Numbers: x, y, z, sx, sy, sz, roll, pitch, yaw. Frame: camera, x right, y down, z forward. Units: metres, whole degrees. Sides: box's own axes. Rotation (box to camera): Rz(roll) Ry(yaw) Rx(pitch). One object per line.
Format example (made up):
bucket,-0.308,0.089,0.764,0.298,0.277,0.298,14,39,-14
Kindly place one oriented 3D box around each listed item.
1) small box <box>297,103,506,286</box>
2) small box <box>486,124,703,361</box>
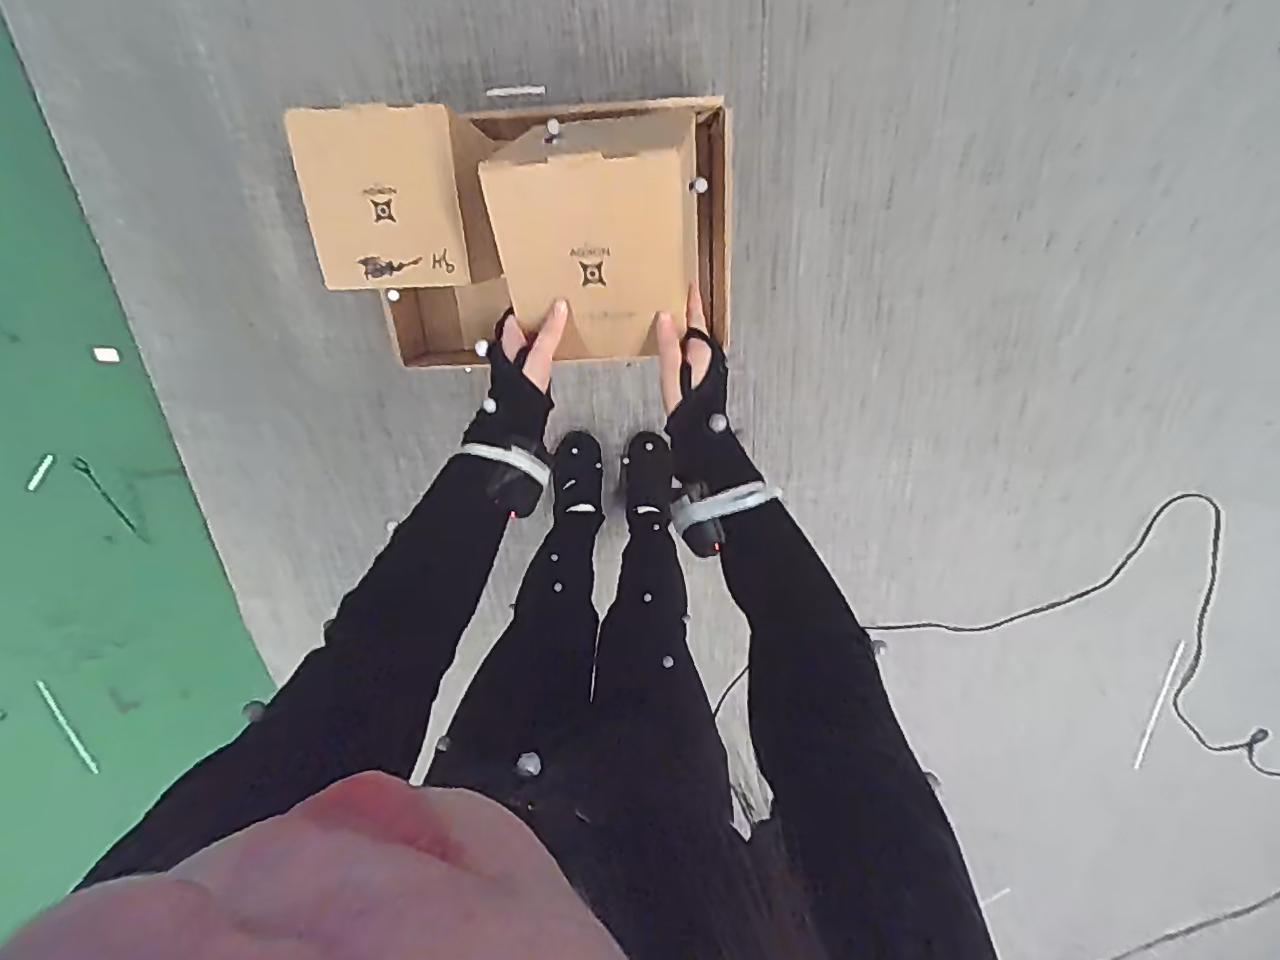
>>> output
small box,-0.268,-0.330,0.654,0.168,0.176,0.179,-1,113,0
small box,-0.027,-0.235,0.532,0.168,0.176,0.179,2,133,10
